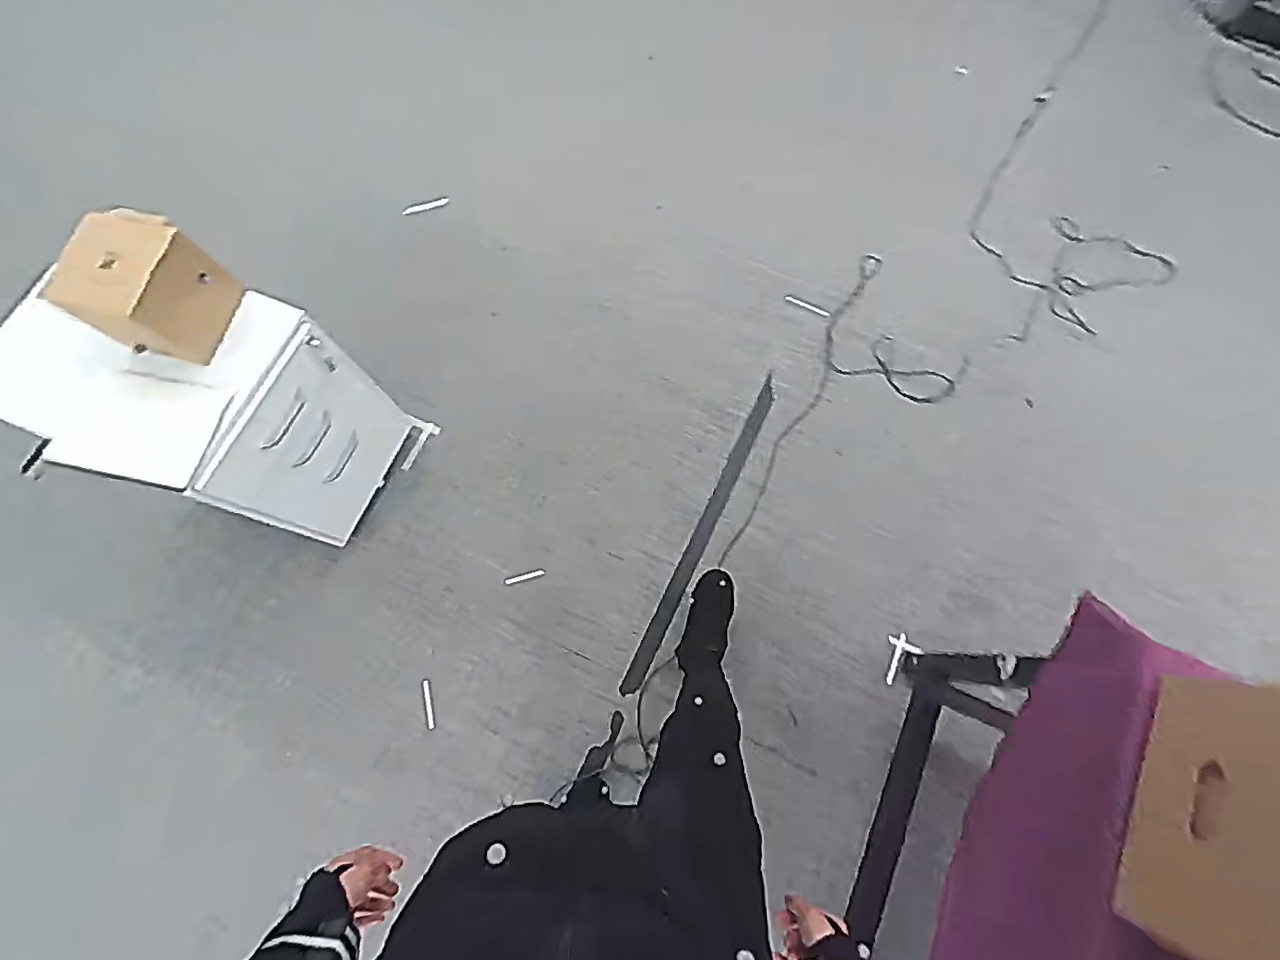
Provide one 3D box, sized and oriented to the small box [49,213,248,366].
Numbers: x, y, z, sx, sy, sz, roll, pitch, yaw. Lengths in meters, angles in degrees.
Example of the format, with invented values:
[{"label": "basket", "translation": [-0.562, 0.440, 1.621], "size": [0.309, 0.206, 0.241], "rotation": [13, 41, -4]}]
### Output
[{"label": "small box", "translation": [-0.851, -0.331, 0.962], "size": [0.168, 0.176, 0.179], "rotation": [13, 75, 4]}]
